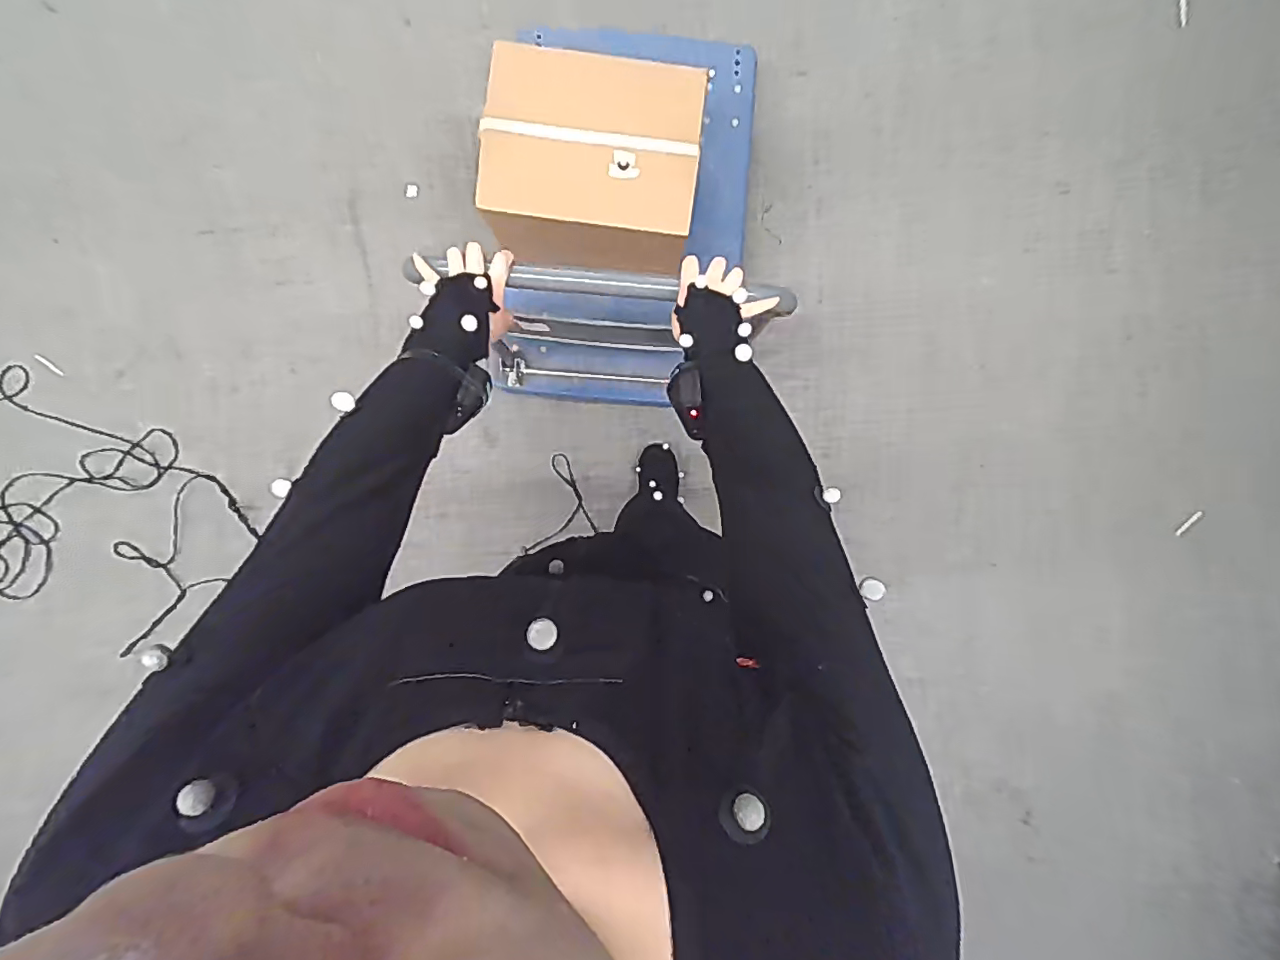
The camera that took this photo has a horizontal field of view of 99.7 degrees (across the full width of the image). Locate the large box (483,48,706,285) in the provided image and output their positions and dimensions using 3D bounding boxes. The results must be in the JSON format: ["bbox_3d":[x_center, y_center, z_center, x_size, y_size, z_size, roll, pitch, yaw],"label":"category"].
[{"bbox_3d":[-0.092,-0.647,1.175,0.408,0.320,0.320,7,91,-2],"label":"large box"}]
